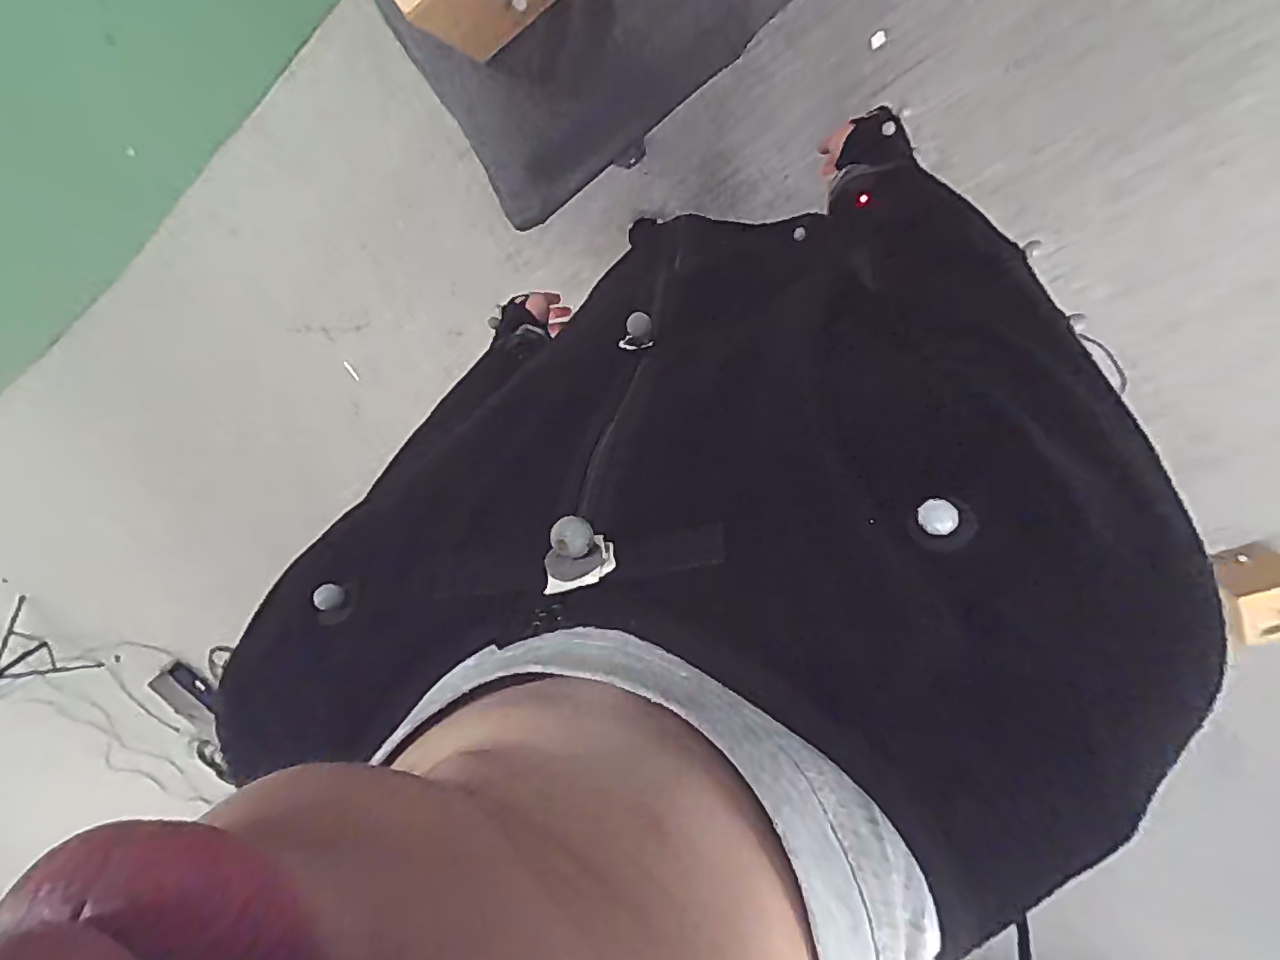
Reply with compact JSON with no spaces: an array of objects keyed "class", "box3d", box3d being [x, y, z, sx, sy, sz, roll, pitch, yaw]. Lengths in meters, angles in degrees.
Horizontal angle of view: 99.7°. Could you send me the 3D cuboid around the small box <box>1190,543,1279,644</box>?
[{"class":"small box","box3d":[1.640,0.301,1.447,0.168,0.176,0.179,-24,110,20]}]
